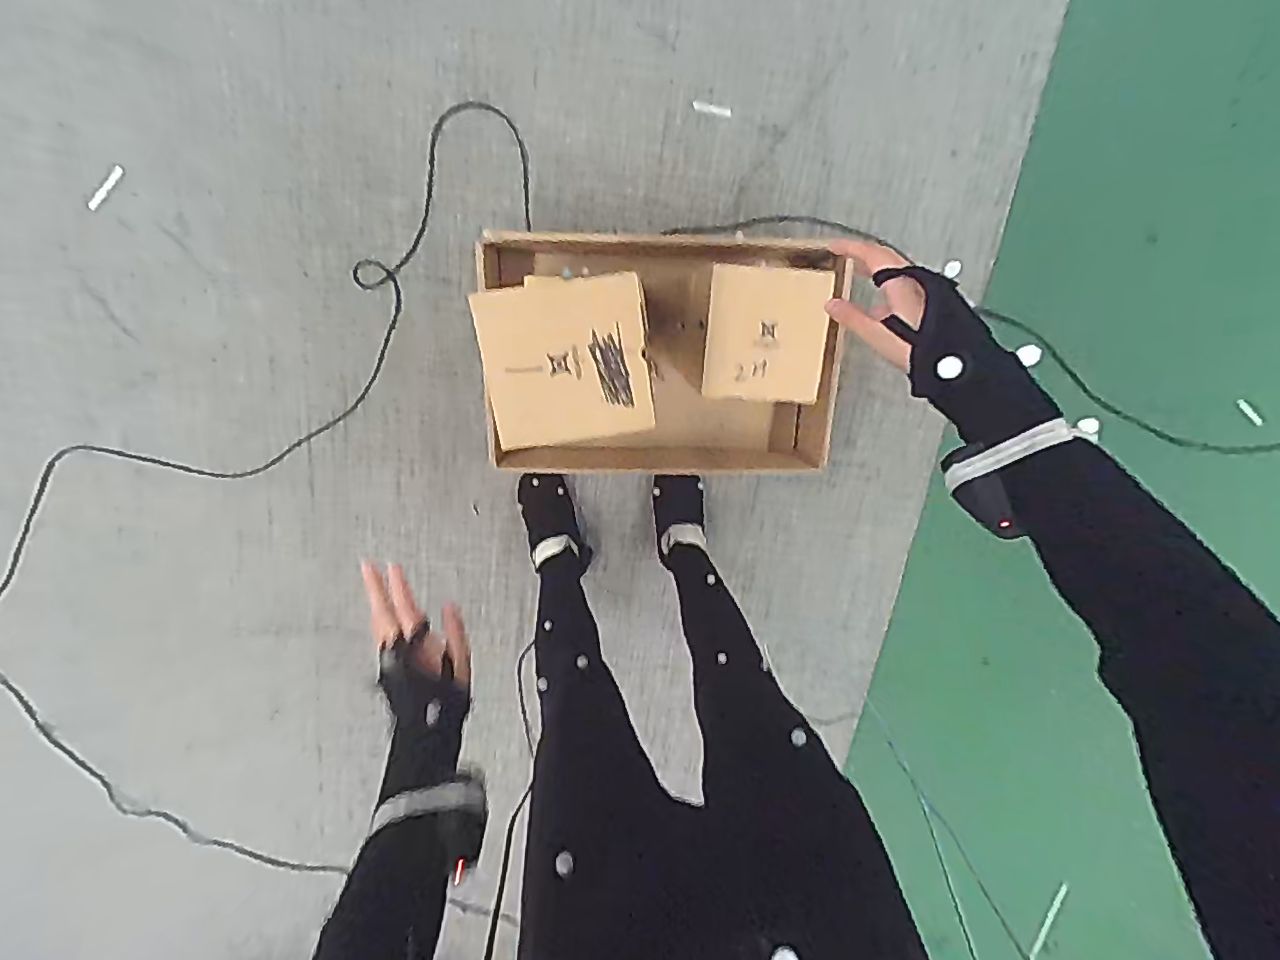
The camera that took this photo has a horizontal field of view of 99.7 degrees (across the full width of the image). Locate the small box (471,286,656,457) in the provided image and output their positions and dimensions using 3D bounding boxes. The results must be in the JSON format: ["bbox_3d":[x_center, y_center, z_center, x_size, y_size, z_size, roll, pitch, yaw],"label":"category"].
[{"bbox_3d":[-0.083,-0.138,0.648,0.179,0.176,0.168,-8,108,-1],"label":"small box"}]

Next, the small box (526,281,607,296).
[{"bbox_3d":[-0.102,-0.257,0.952,0.179,0.176,0.168,0,108,-6],"label":"small box"}]

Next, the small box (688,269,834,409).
[{"bbox_3d":[0.167,-0.210,0.808,0.168,0.176,0.179,3,107,-3],"label":"small box"}]
